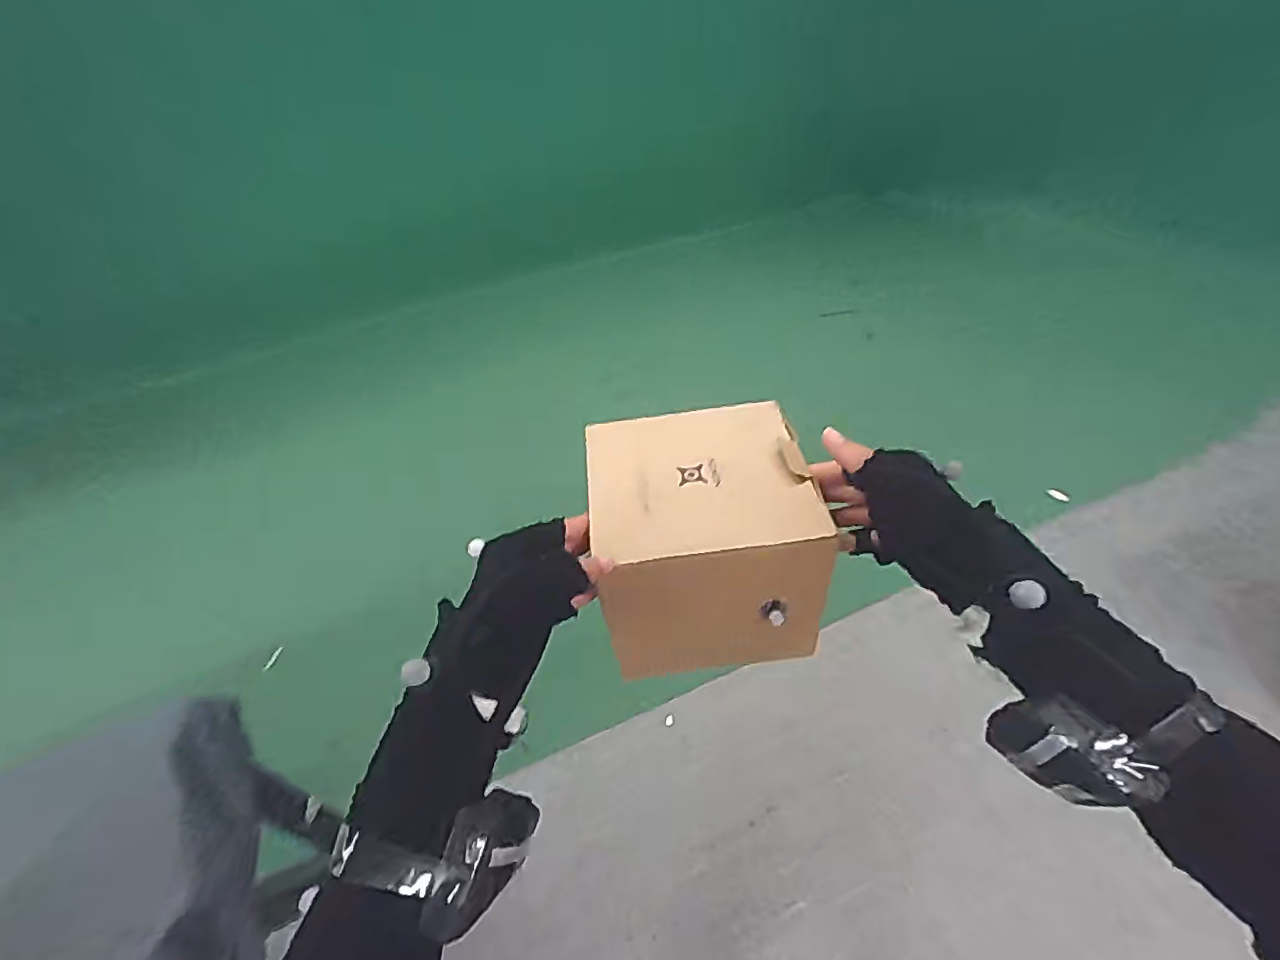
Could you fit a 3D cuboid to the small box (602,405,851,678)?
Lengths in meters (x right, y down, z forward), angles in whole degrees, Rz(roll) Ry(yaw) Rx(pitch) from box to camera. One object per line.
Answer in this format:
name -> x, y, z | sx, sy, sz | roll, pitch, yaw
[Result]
small box -> 0.066, 0.057, 0.492 | 0.179, 0.176, 0.168 | -9, 42, 1
